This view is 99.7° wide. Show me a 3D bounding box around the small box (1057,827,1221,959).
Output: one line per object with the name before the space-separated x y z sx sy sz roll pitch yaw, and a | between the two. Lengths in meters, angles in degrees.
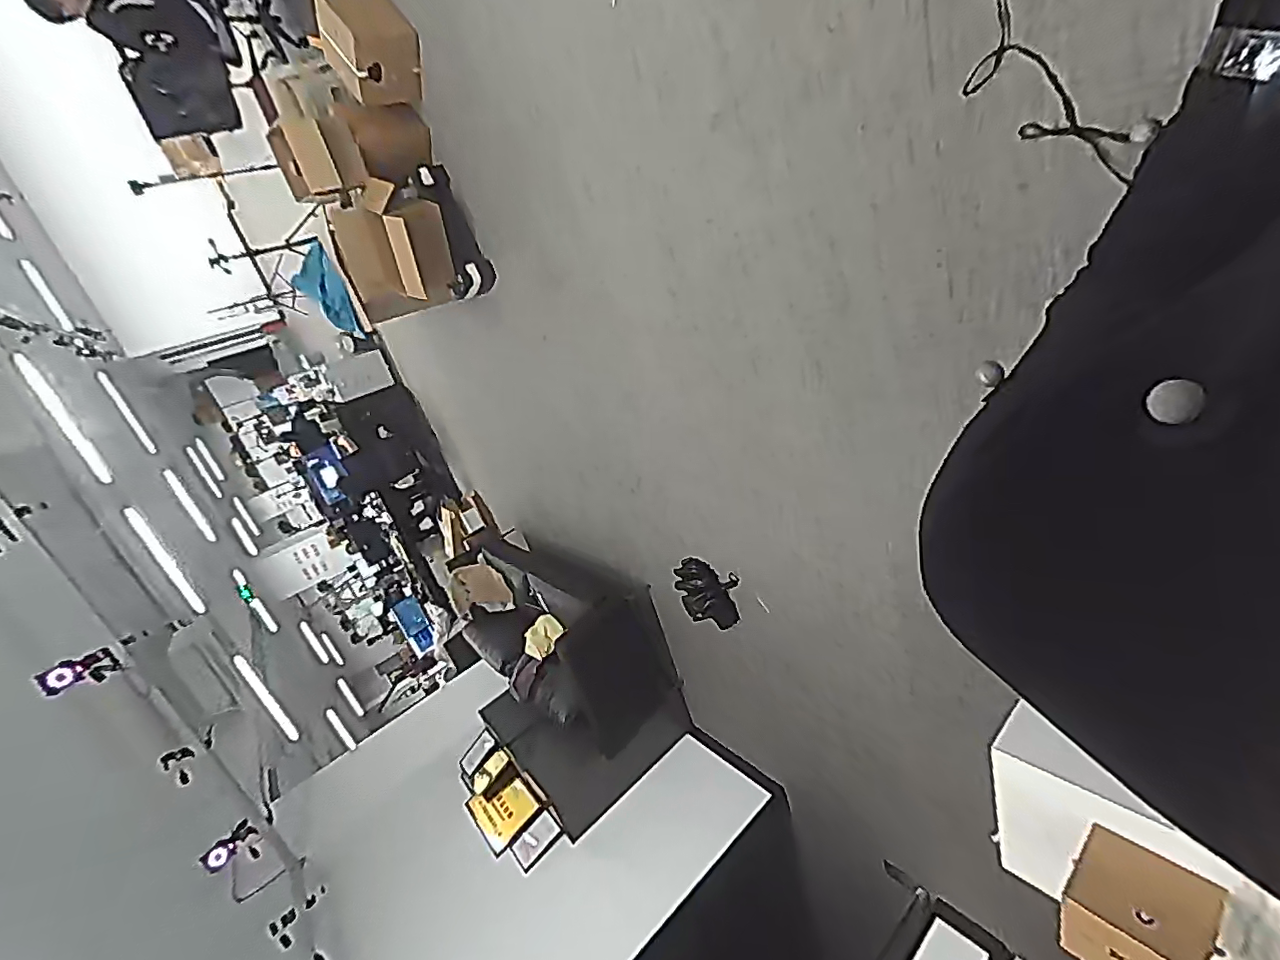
small box | 0.857 0.756 0.934 0.179 0.176 0.168 15 128 52
